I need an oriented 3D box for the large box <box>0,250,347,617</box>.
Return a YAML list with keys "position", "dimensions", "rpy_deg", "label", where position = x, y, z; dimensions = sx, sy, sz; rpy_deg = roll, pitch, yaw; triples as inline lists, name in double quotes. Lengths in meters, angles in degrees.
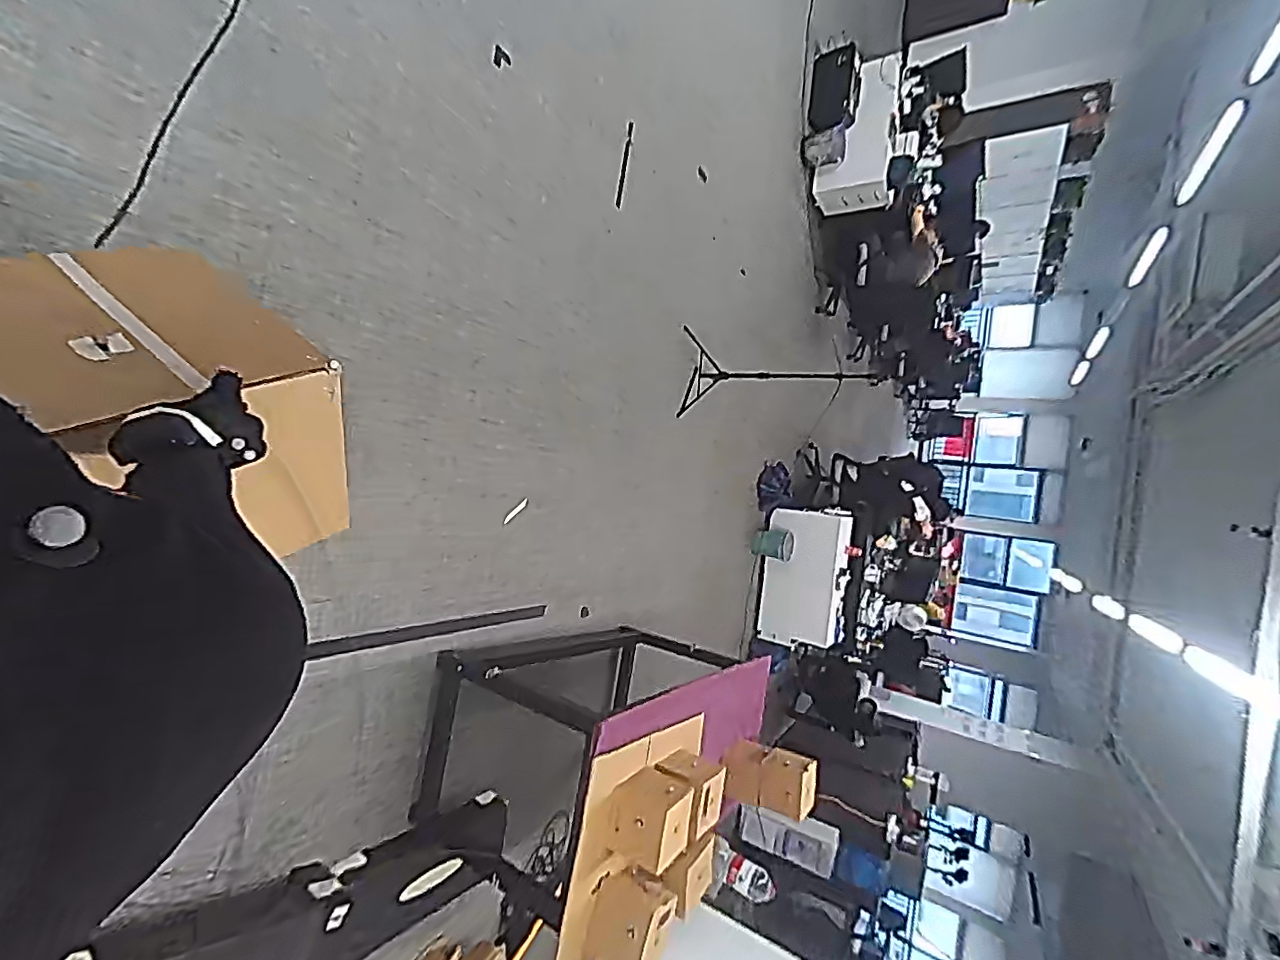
- position: [-0.693, -0.090, 0.782]
  dimensions: [0.320, 0.408, 0.320]
  rpy_deg: [-36, 155, -46]
  label: "large box"
